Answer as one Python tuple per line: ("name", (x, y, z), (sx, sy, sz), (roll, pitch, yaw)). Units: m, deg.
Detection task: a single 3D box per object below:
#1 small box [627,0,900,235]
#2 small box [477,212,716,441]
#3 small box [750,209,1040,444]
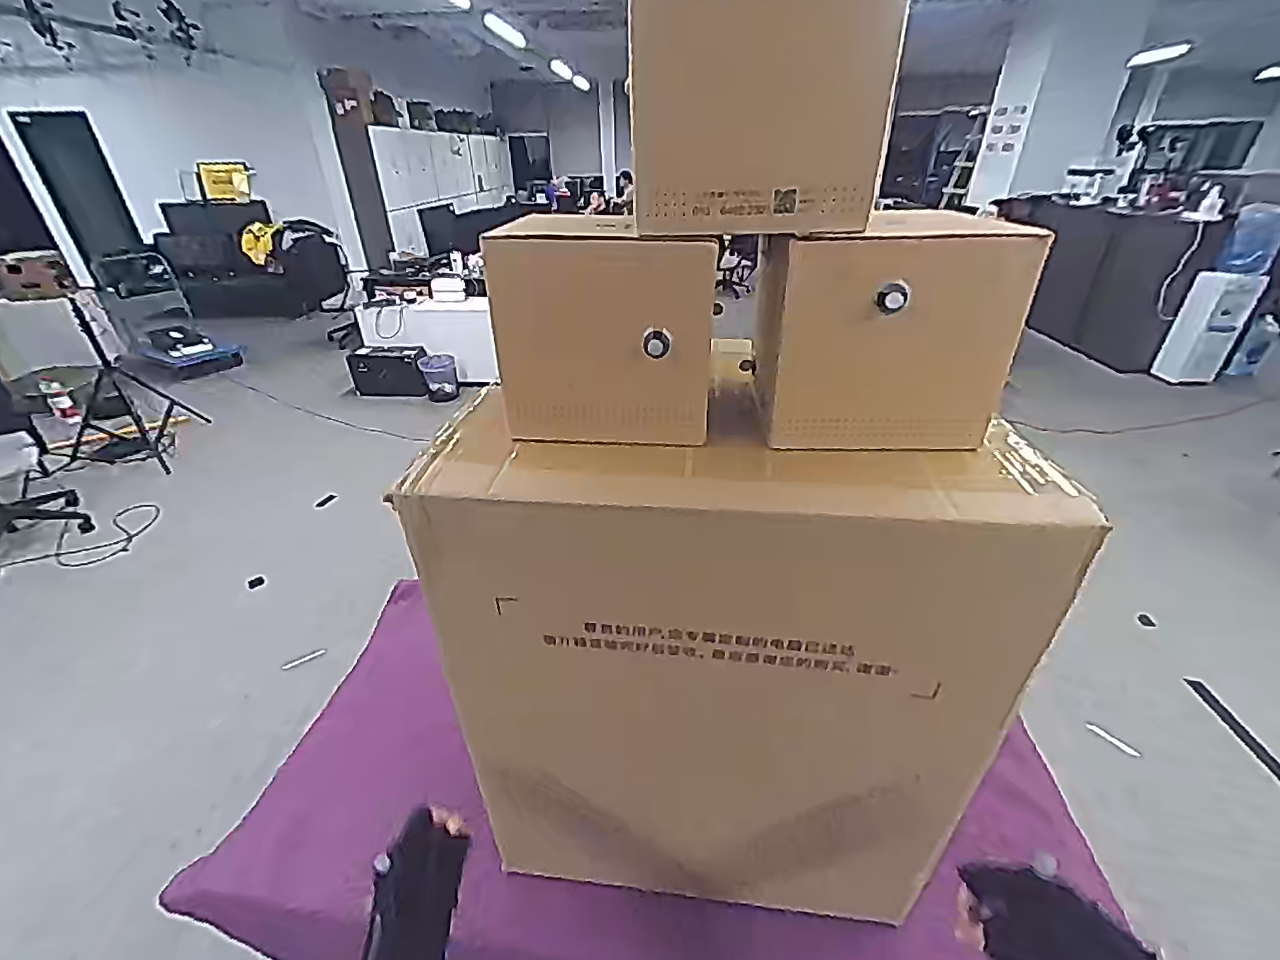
("small box", (0.079, -0.287, 0.415), (0.168, 0.176, 0.179), (0, 30, 5))
("small box", (-0.028, -0.143, 0.496), (0.179, 0.176, 0.168), (1, 30, 3))
("small box", (0.195, -0.140, 0.480), (0.179, 0.176, 0.168), (1, 31, 3))
